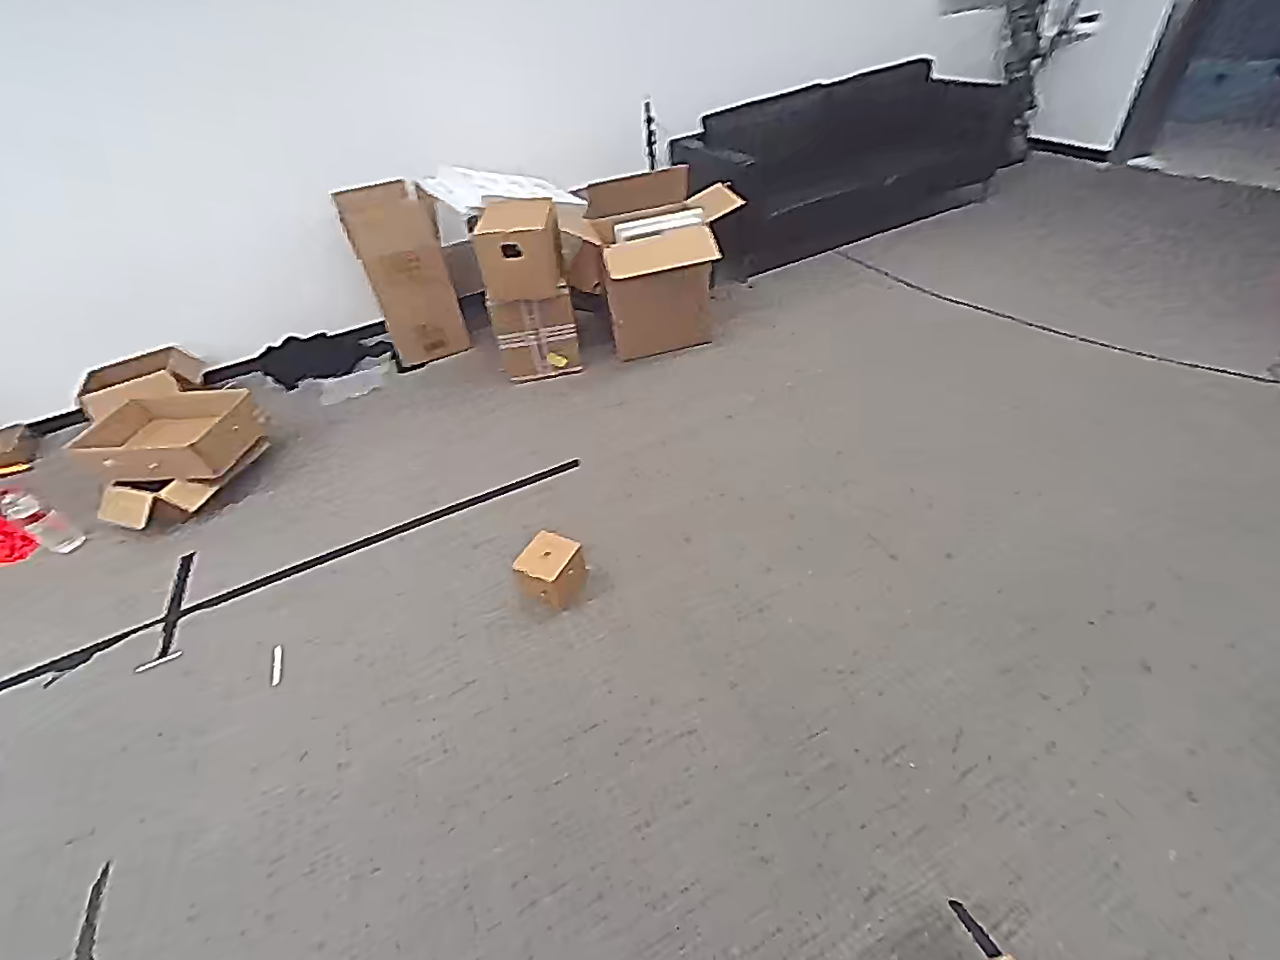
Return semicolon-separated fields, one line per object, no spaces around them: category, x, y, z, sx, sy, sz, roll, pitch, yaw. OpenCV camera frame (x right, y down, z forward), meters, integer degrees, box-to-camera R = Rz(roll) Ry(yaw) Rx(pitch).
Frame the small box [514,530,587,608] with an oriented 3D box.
small box;-0.296;0.305;1.840;0.168;0.176;0.179;16;47;23
